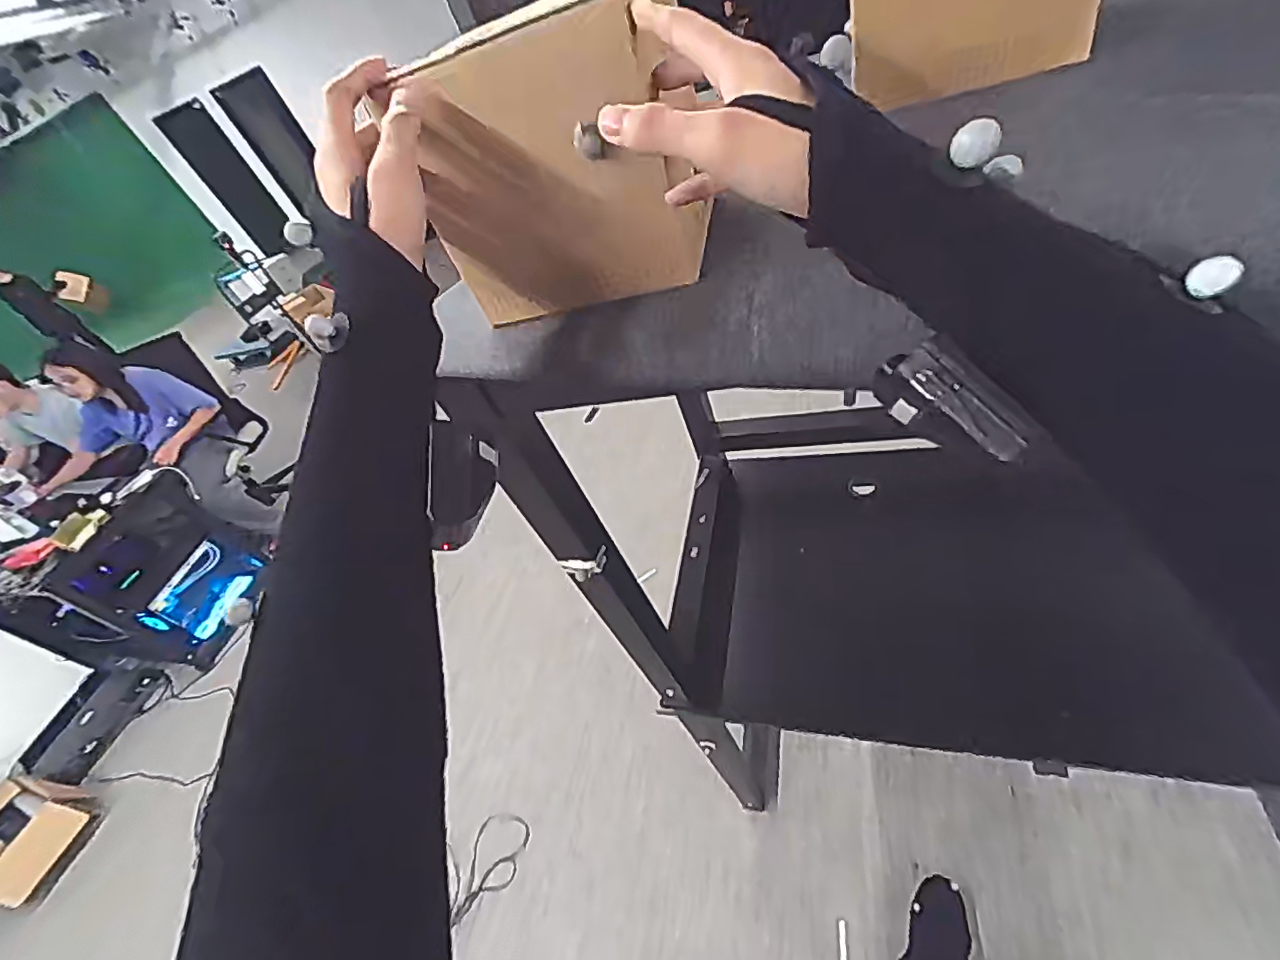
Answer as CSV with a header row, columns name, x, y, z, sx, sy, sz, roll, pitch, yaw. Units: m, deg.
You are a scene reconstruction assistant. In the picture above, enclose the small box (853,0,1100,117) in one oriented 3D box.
name,x,y,z,sx,sy,sz,roll,pitch,yaw
small box,0.279,-0.444,0.454,0.179,0.176,0.168,1,49,26
